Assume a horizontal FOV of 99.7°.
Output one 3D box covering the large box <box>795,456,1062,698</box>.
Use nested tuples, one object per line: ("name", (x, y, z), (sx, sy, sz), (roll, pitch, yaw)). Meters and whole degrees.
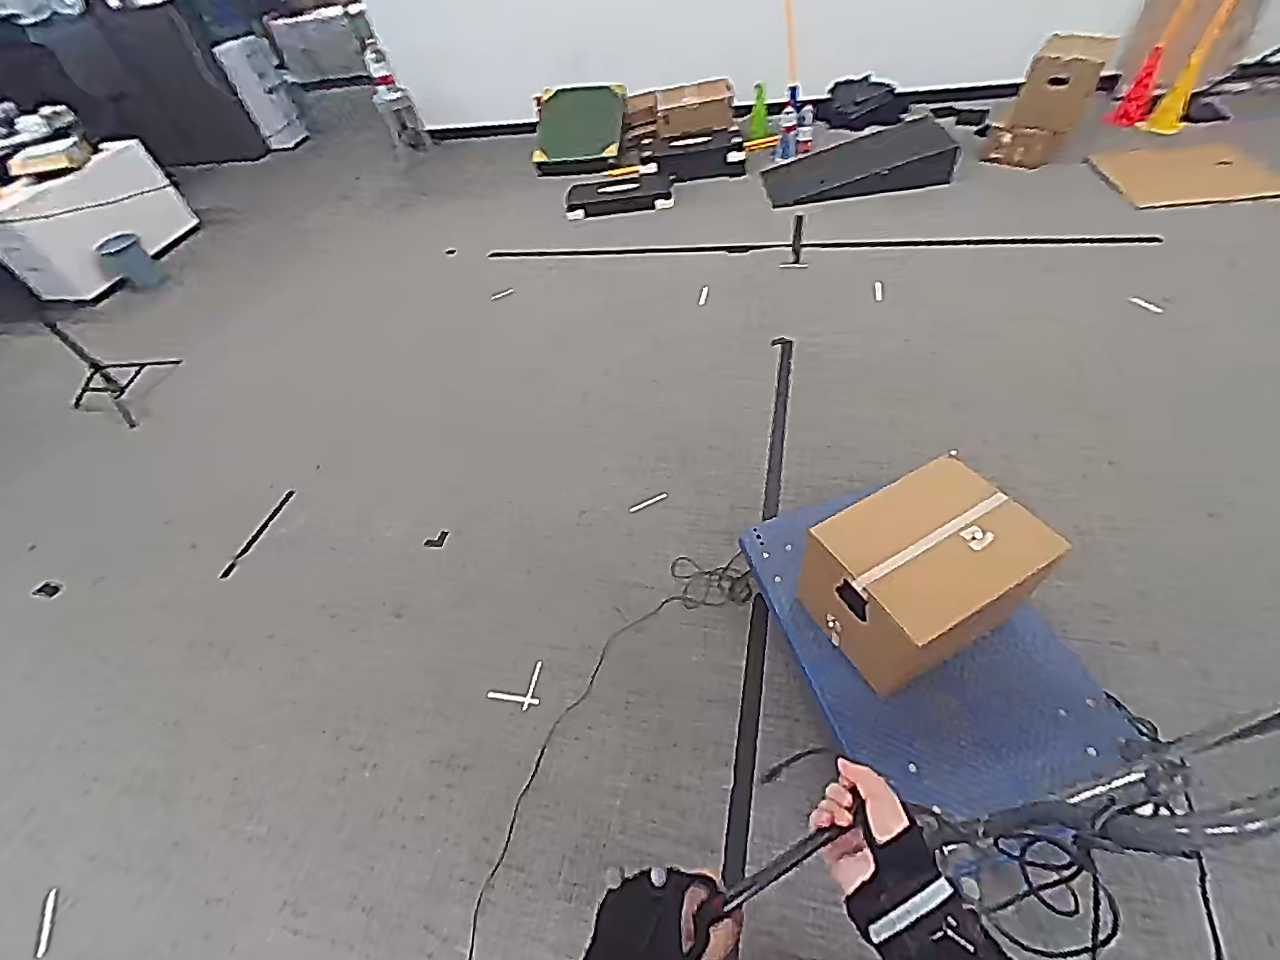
("large box", (0.622, 0.220, 1.240), (0.408, 0.320, 0.320), (-26, 52, -13))
